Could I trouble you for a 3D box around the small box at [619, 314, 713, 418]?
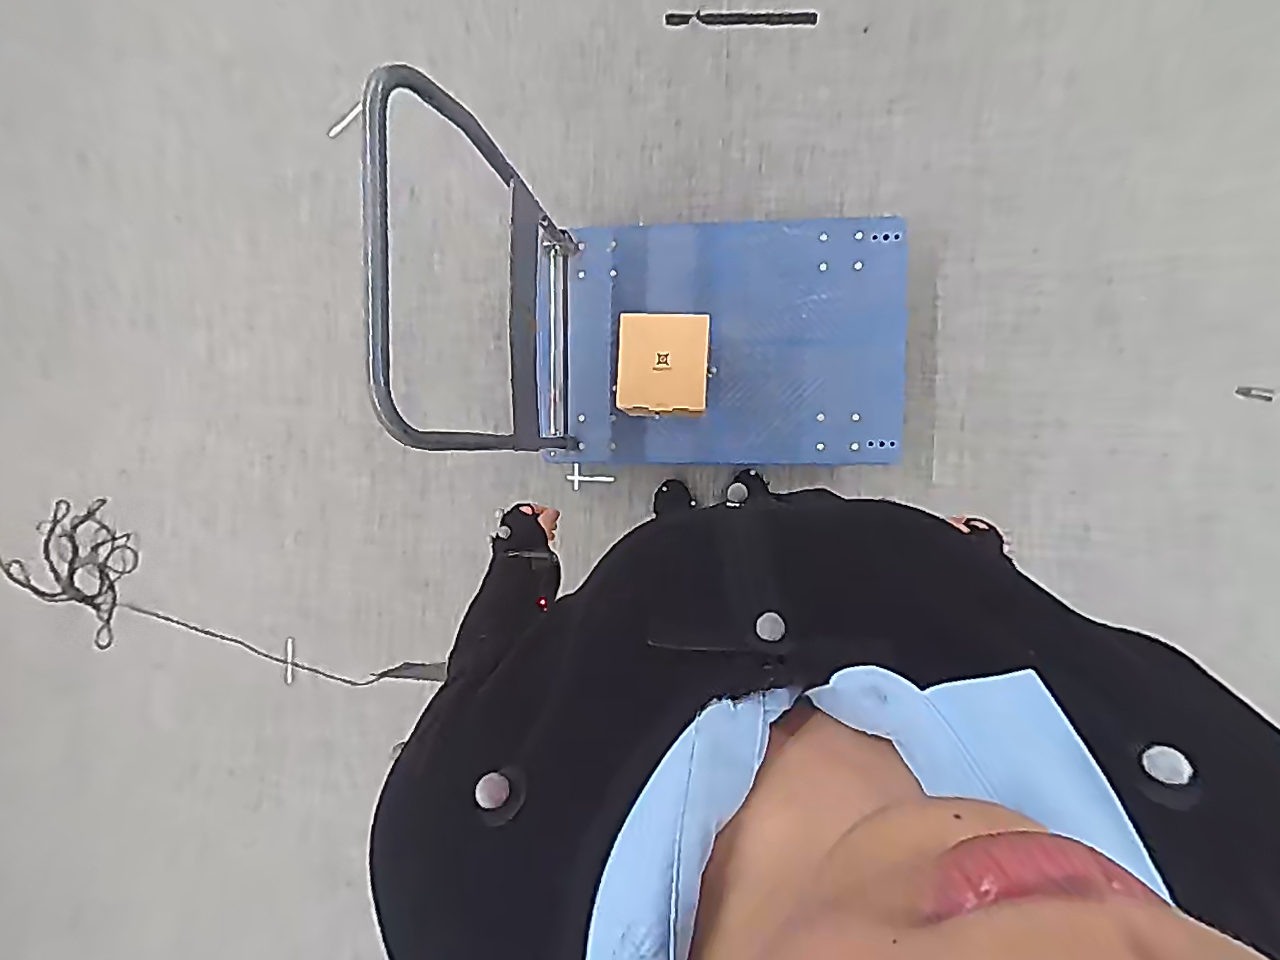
[{"bbox_3d":[0.053,-0.218,1.066,0.168,0.176,0.179,3,94,6],"label":"small box"}]
